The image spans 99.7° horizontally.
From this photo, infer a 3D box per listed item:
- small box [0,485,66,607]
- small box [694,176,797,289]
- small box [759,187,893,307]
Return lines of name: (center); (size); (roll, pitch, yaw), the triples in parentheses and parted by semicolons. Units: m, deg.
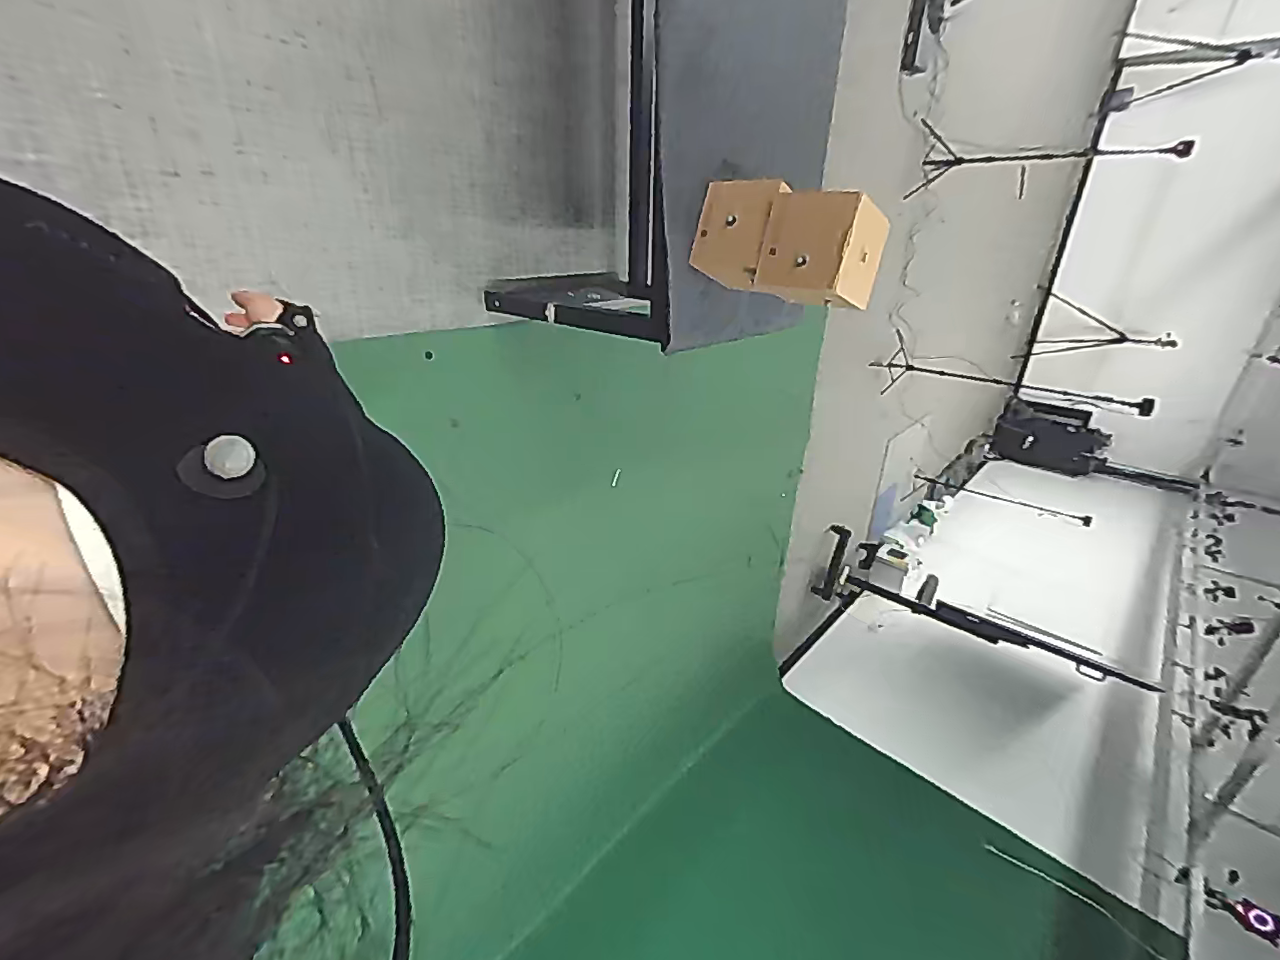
small box: (-1.177, 0.103, 0.947); (0.168, 0.176, 0.179); (-55, 139, -16)
small box: (0.236, -0.503, 1.122); (0.179, 0.176, 0.168); (2, 106, -52)
small box: (0.349, -0.435, 1.023); (0.179, 0.176, 0.168); (-5, 112, -51)
